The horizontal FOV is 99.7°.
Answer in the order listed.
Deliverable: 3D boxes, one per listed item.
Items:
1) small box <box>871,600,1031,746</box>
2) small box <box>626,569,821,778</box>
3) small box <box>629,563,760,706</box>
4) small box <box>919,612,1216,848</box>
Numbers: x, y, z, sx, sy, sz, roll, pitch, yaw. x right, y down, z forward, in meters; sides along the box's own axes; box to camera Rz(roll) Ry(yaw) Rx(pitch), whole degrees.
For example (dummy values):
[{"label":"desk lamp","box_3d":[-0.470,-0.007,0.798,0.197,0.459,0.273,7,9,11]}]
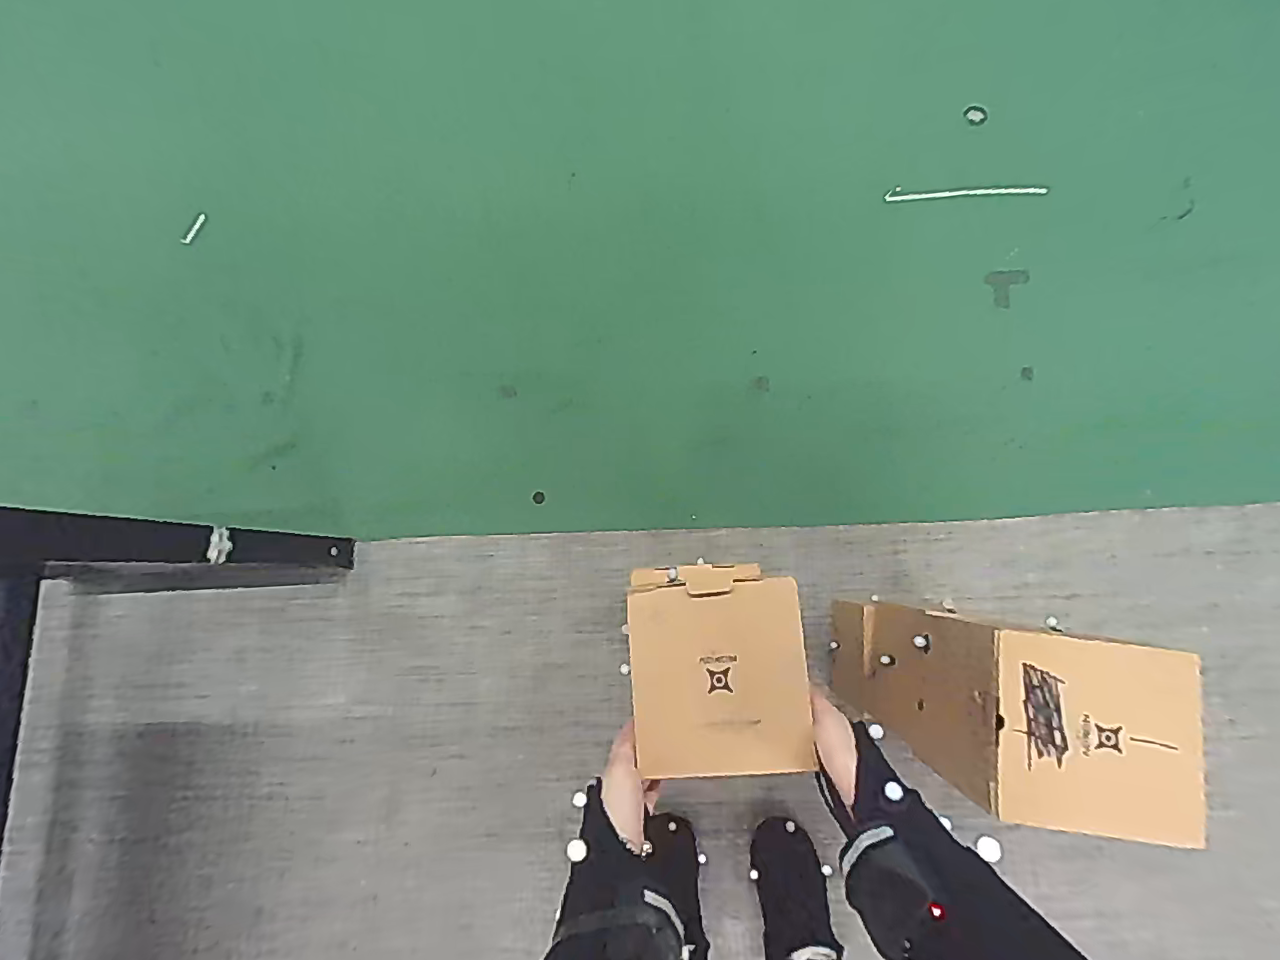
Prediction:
[{"label":"small box","box_3d":[0.420,0.254,0.705,0.179,0.176,0.168,8,82,4]},{"label":"small box","box_3d":[0.078,0.190,0.573,0.168,0.176,0.179,-6,80,4]},{"label":"small box","box_3d":[0.076,0.204,0.736,0.168,0.176,0.179,-3,79,3]},{"label":"small box","box_3d":[0.404,0.229,0.544,0.179,0.176,0.168,6,81,4]}]
